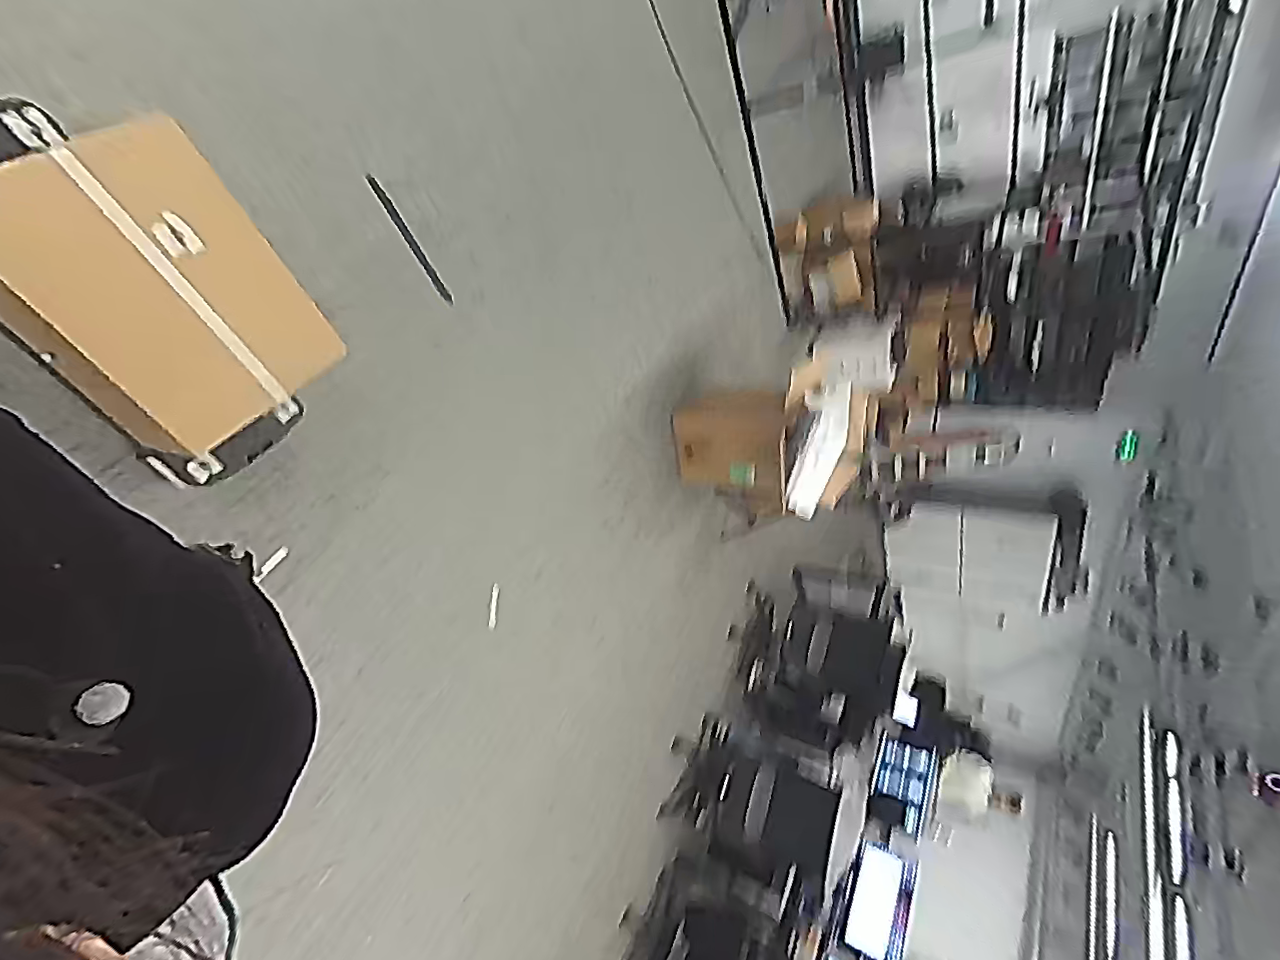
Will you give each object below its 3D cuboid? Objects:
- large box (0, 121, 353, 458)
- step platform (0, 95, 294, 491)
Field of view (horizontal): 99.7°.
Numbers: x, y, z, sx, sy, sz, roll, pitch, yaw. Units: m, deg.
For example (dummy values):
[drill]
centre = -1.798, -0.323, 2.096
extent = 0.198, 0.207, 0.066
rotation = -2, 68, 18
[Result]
[large box]
centre = -0.797, -0.288, 0.904
extent = 0.320, 0.320, 0.408
rotation = -55, 134, -34
[step platform]
centre = -1.003, -0.310, 1.025
extent = 0.286, 0.204, 0.684
rotation = -50, 131, -38
